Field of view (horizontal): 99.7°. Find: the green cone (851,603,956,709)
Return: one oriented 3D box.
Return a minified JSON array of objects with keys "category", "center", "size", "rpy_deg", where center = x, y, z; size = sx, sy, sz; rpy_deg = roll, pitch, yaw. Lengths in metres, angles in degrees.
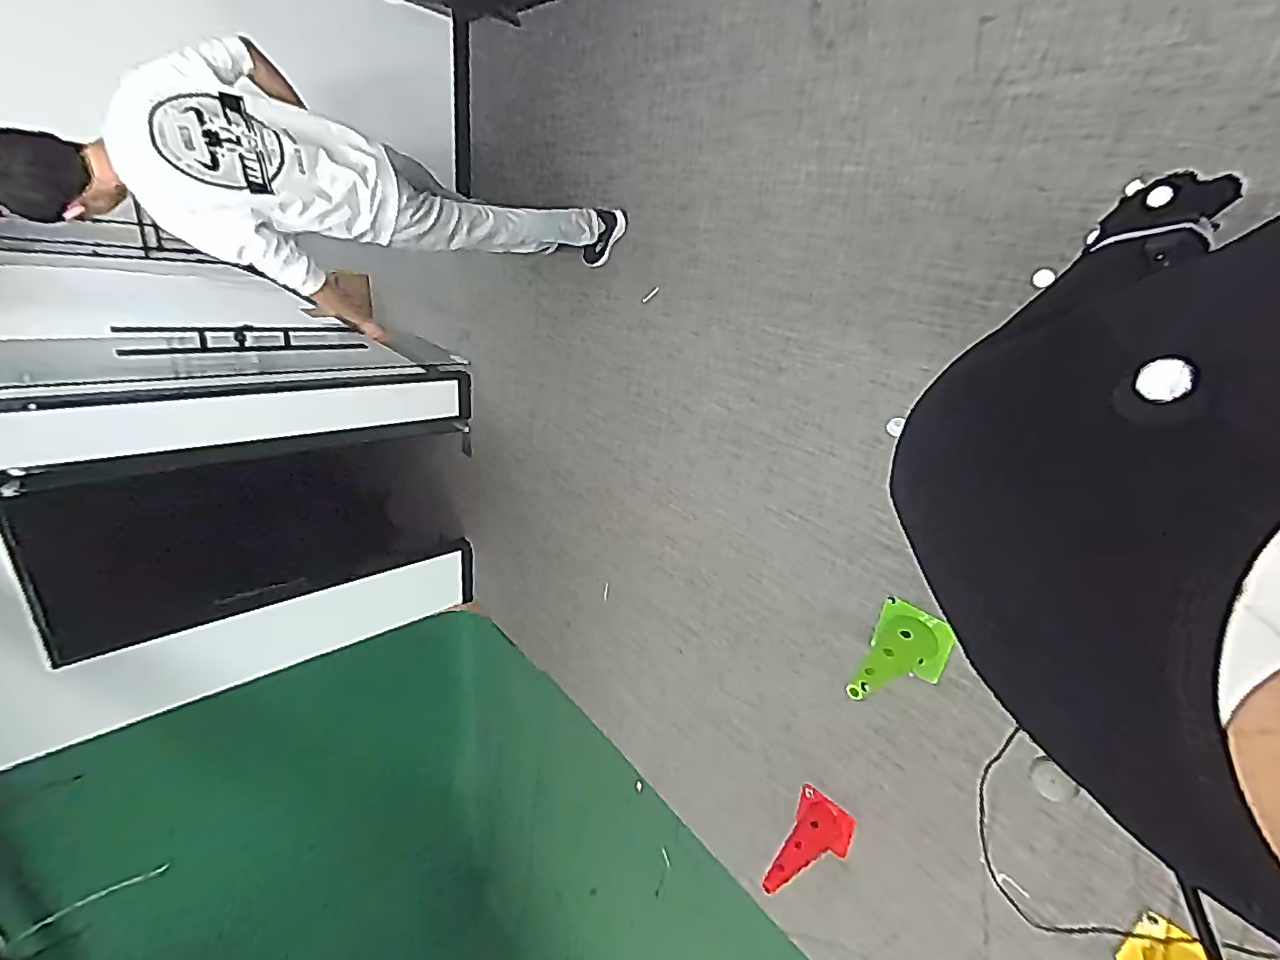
[{"category":"green cone","center":[0.660,0.510,1.448],"size":[0.202,0.368,0.200],"rpy_deg":[27,120,40]}]

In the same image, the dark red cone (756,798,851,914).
[{"category":"dark red cone","center":[0.513,1.273,1.786],"size":[0.202,0.394,0.201],"rpy_deg":[23,118,43]}]
